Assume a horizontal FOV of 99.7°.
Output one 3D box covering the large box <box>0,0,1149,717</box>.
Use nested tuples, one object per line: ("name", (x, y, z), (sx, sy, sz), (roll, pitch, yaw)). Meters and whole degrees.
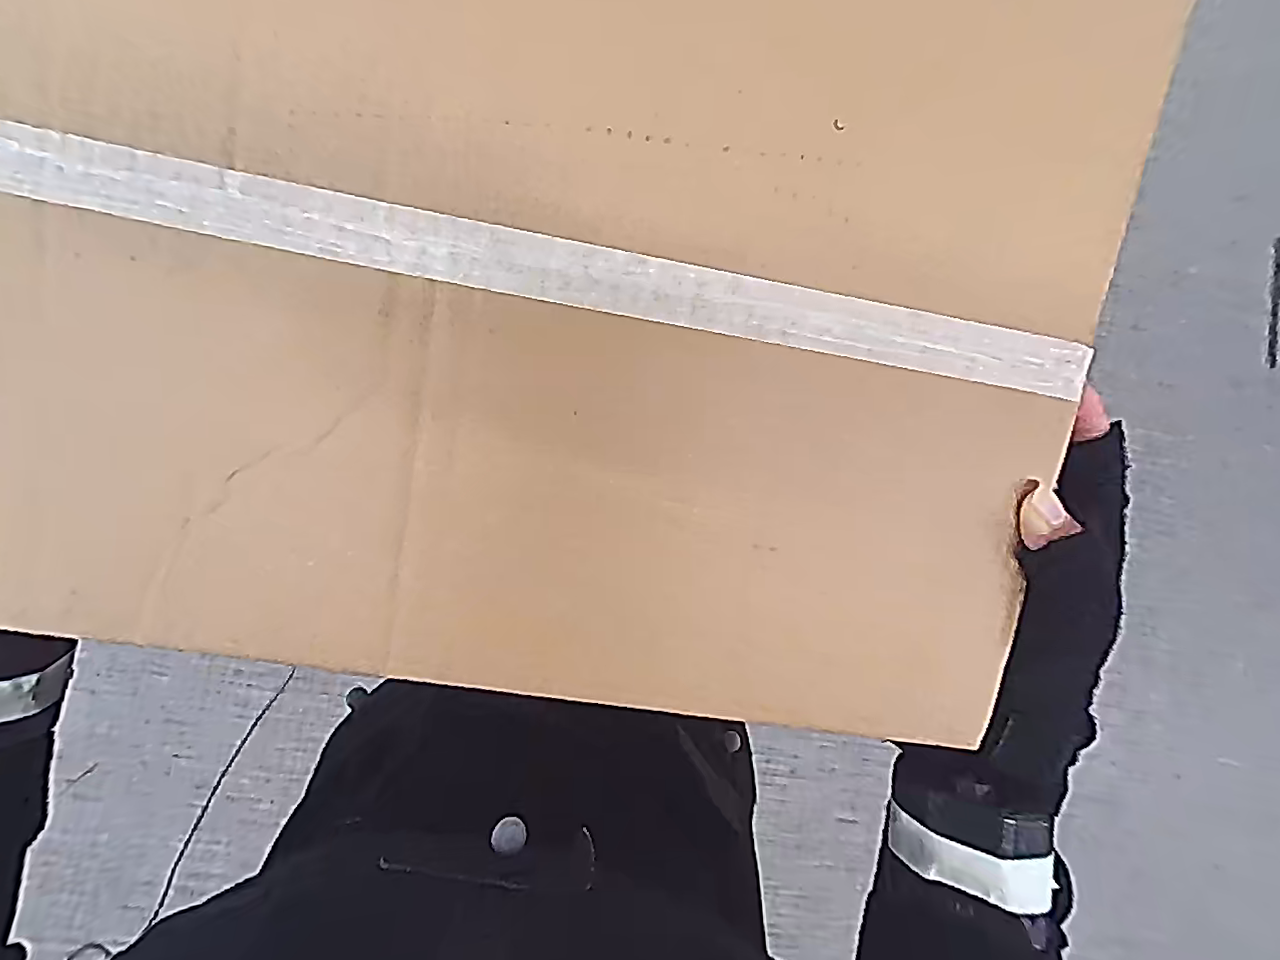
("large box", (-0.042, -0.095, 0.345), (0.408, 0.320, 0.320), (10, 97, -6))
